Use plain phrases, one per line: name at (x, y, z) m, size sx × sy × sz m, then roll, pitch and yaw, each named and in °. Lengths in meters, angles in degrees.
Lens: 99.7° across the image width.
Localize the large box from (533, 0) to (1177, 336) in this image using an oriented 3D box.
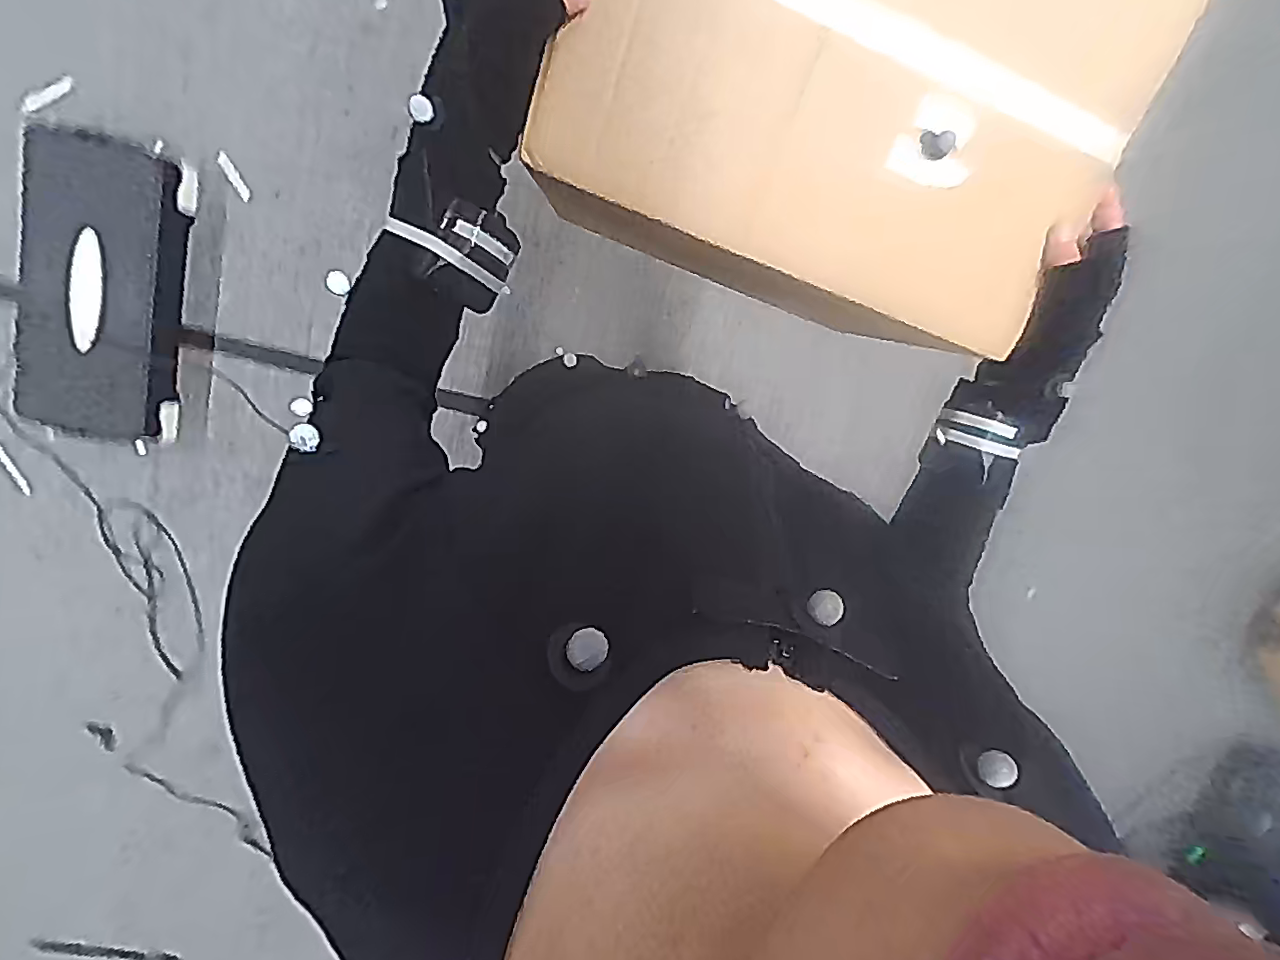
large box at (0.141, -0.353, 0.505) m, size 0.408 × 0.320 × 0.320 m, roll 16°, pitch 108°, yaw -11°
